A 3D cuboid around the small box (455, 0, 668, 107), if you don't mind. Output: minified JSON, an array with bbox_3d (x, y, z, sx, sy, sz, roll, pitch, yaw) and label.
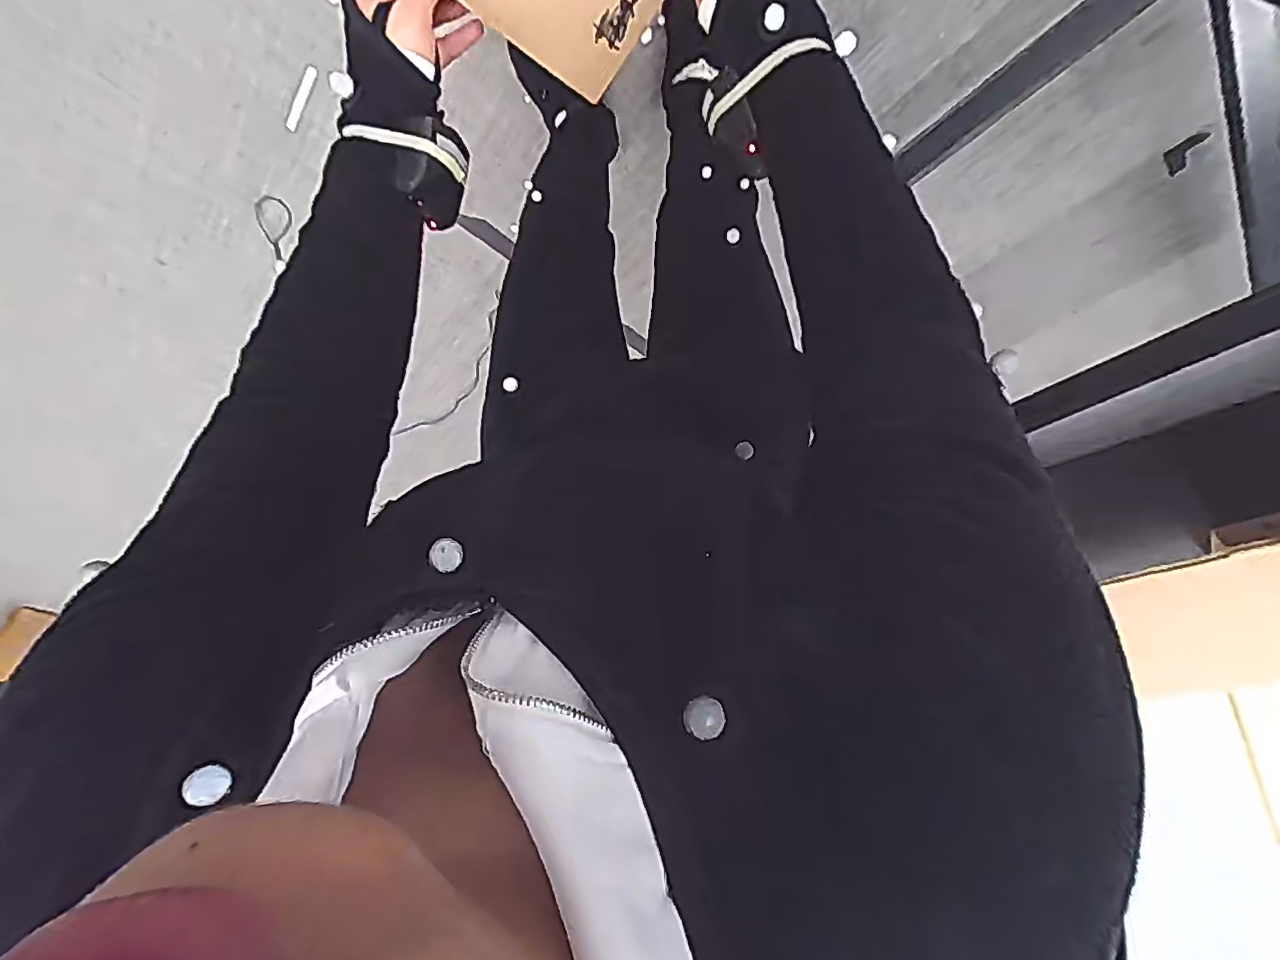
[{"bbox_3d":[-0.060,-0.458,0.422,0.179,0.176,0.168,19,146,-34],"label":"small box"}]
